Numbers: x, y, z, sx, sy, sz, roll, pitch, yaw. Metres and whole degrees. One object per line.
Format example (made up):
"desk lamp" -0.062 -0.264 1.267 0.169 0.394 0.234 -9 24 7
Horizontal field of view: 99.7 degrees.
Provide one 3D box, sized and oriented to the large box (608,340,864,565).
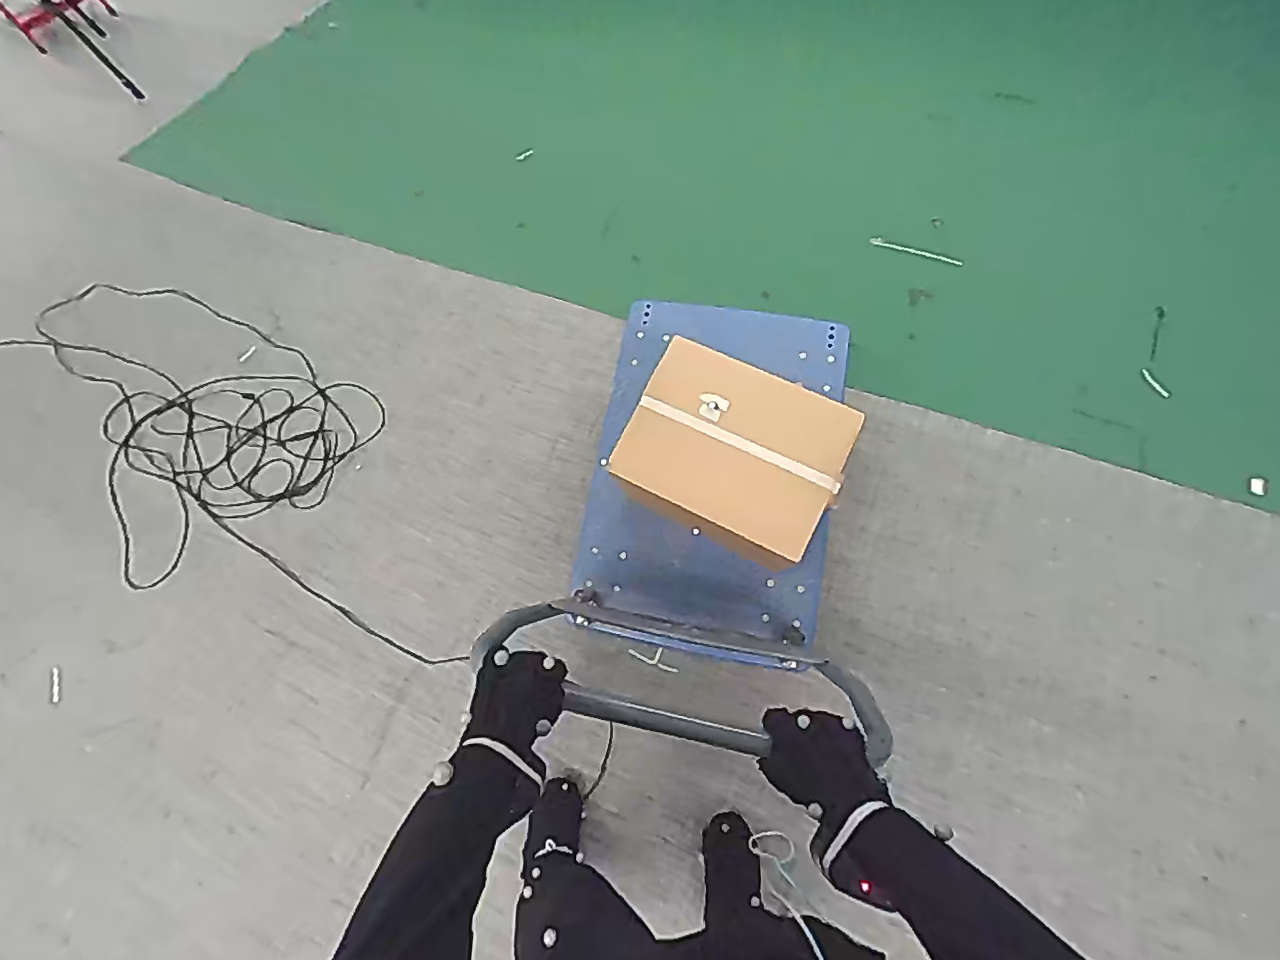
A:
"large box" 0.200 -0.040 1.171 0.408 0.320 0.320 25 82 12
